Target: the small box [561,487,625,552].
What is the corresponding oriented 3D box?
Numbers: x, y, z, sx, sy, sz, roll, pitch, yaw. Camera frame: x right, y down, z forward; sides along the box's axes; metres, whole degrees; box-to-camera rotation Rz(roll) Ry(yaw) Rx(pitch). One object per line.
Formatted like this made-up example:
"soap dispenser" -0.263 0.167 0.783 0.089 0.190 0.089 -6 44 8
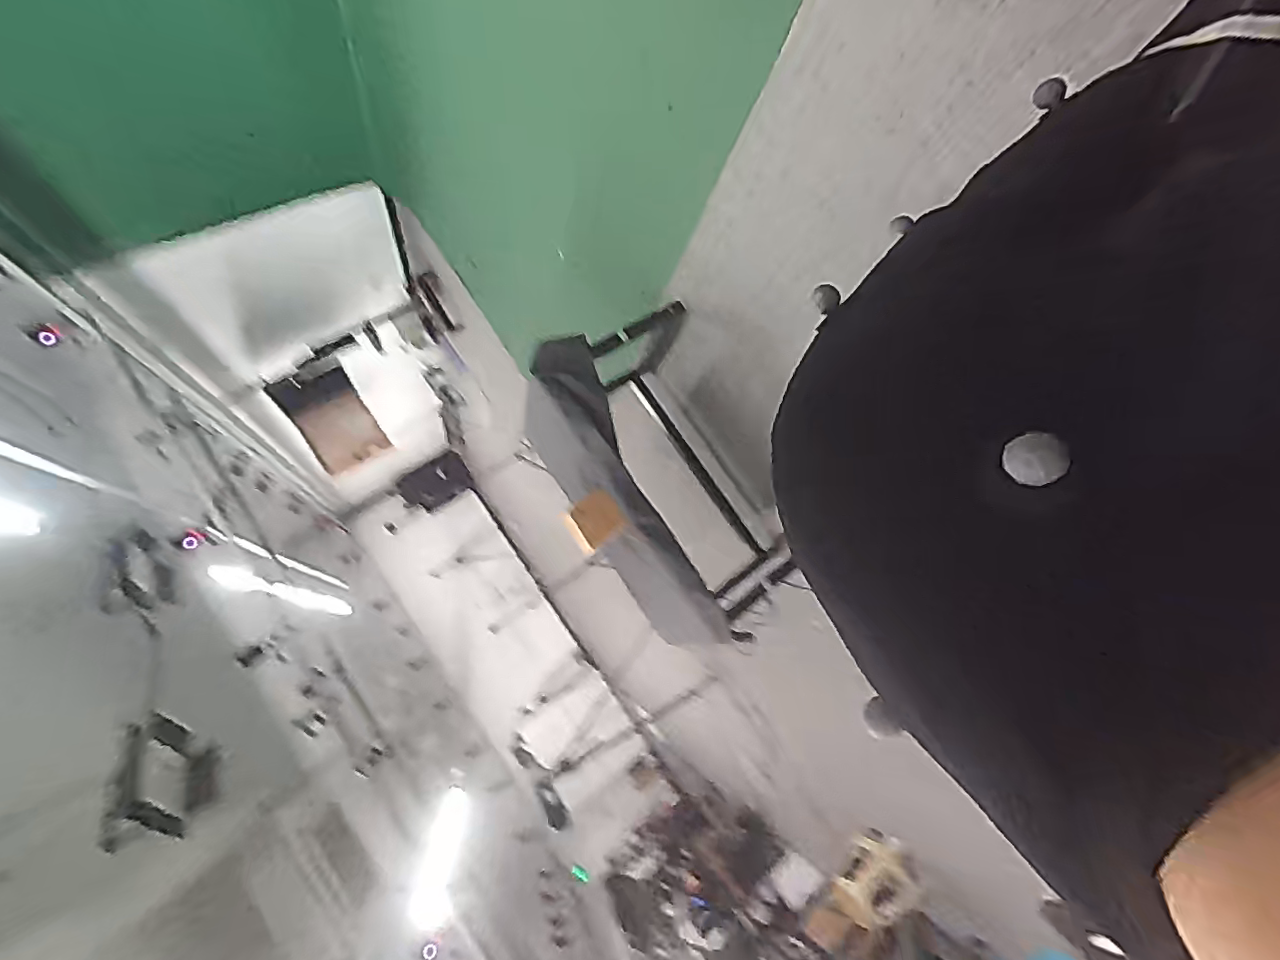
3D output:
"small box" -0.179 0.151 2.061 0.179 0.176 0.168 56 159 5
